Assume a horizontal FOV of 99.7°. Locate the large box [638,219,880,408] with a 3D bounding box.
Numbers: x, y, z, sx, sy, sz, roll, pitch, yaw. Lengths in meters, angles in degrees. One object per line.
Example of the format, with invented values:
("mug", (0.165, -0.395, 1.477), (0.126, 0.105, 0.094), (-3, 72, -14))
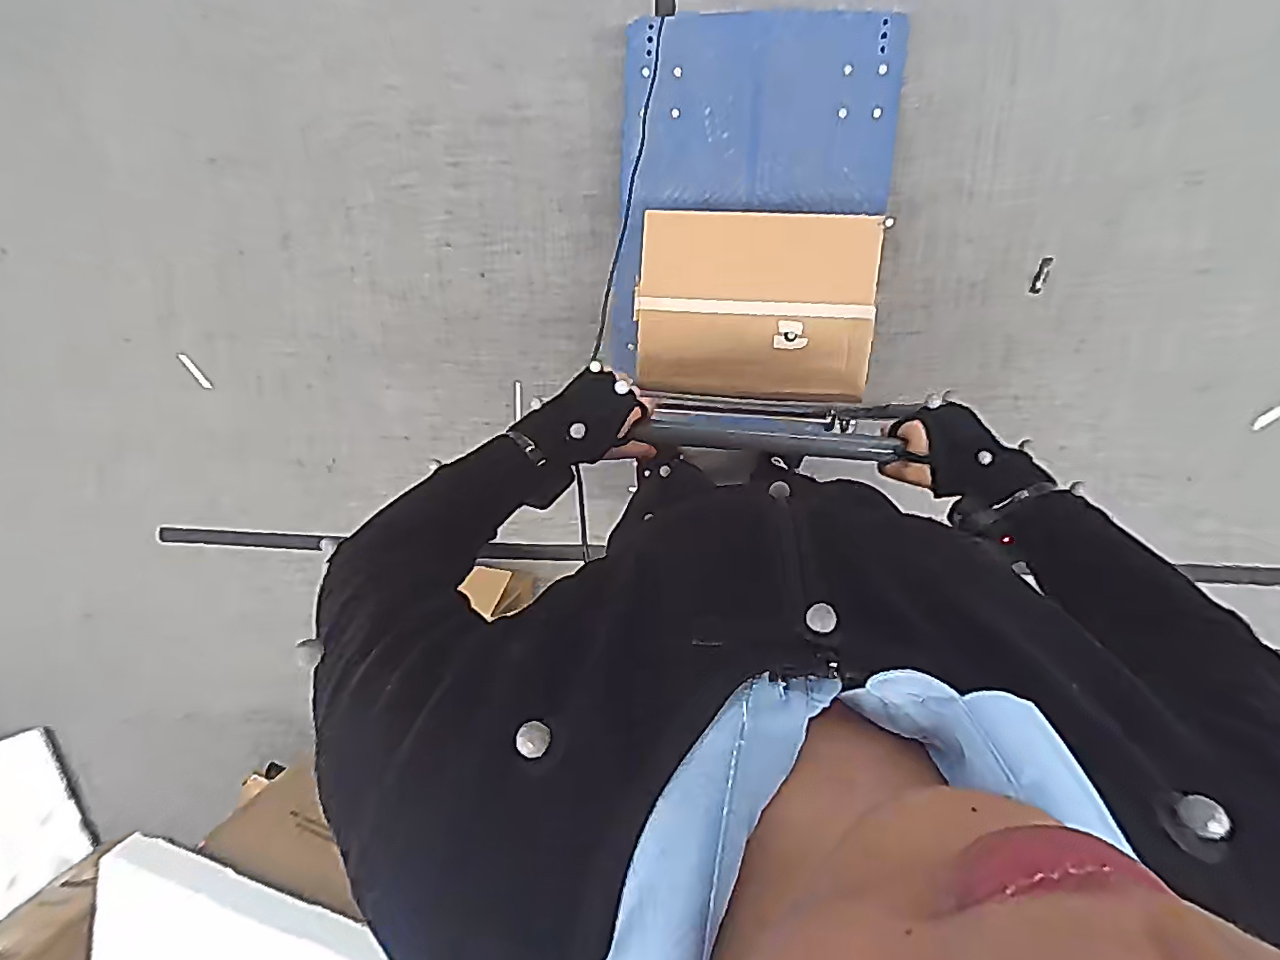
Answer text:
("large box", (0.213, -0.312, 1.091), (0.408, 0.320, 0.320), (5, 100, 6))
